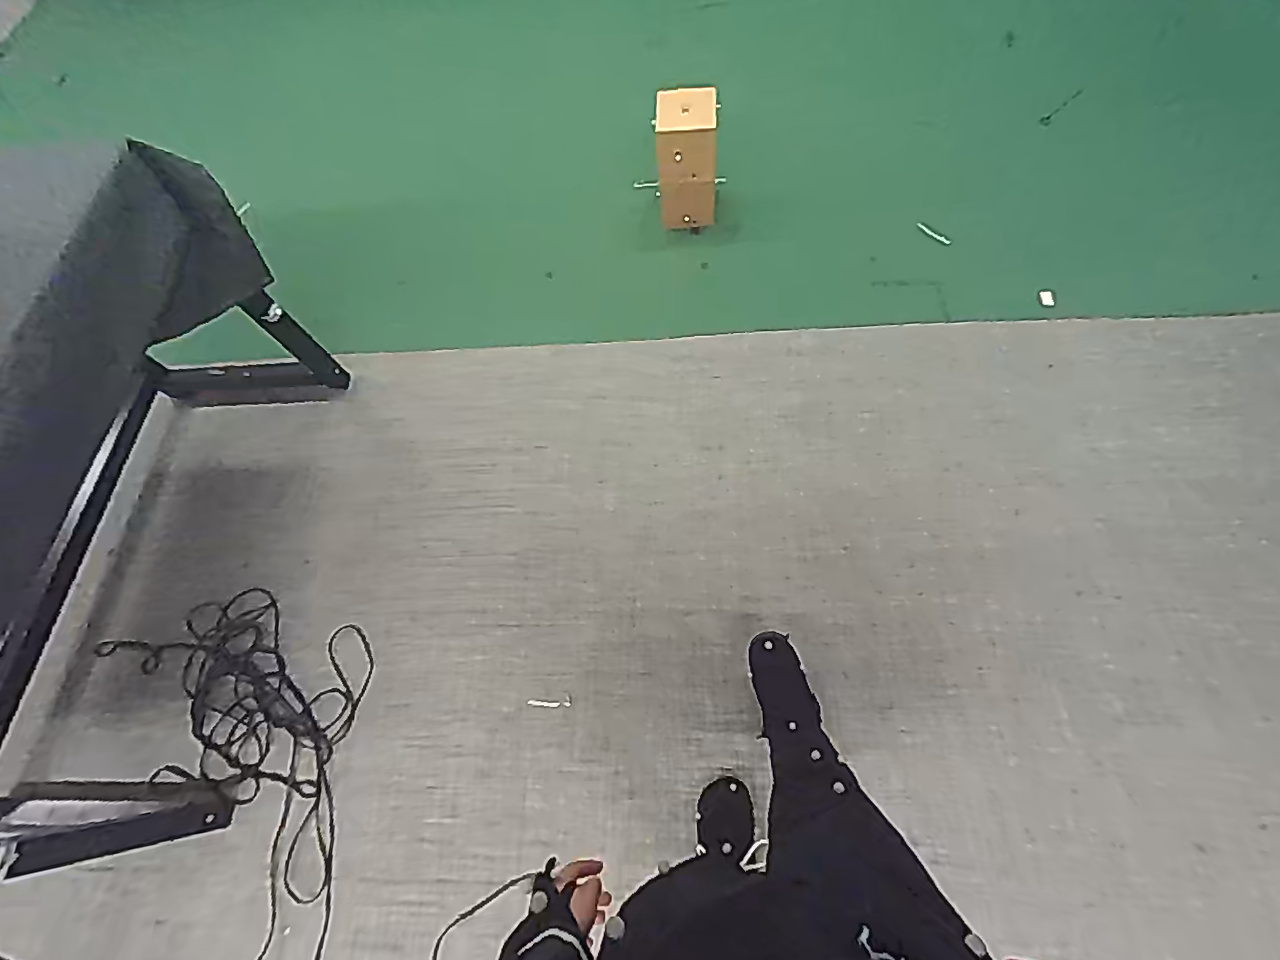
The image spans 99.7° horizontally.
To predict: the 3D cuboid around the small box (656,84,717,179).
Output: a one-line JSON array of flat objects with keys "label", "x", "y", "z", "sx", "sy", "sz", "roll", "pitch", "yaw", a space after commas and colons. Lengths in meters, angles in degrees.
[{"label": "small box", "x": 0.138, "y": -0.994, "z": 1.557, "sx": 0.168, "sy": 0.176, "sz": 0.179, "roll": 0, "pitch": 67, "yaw": 6}]
